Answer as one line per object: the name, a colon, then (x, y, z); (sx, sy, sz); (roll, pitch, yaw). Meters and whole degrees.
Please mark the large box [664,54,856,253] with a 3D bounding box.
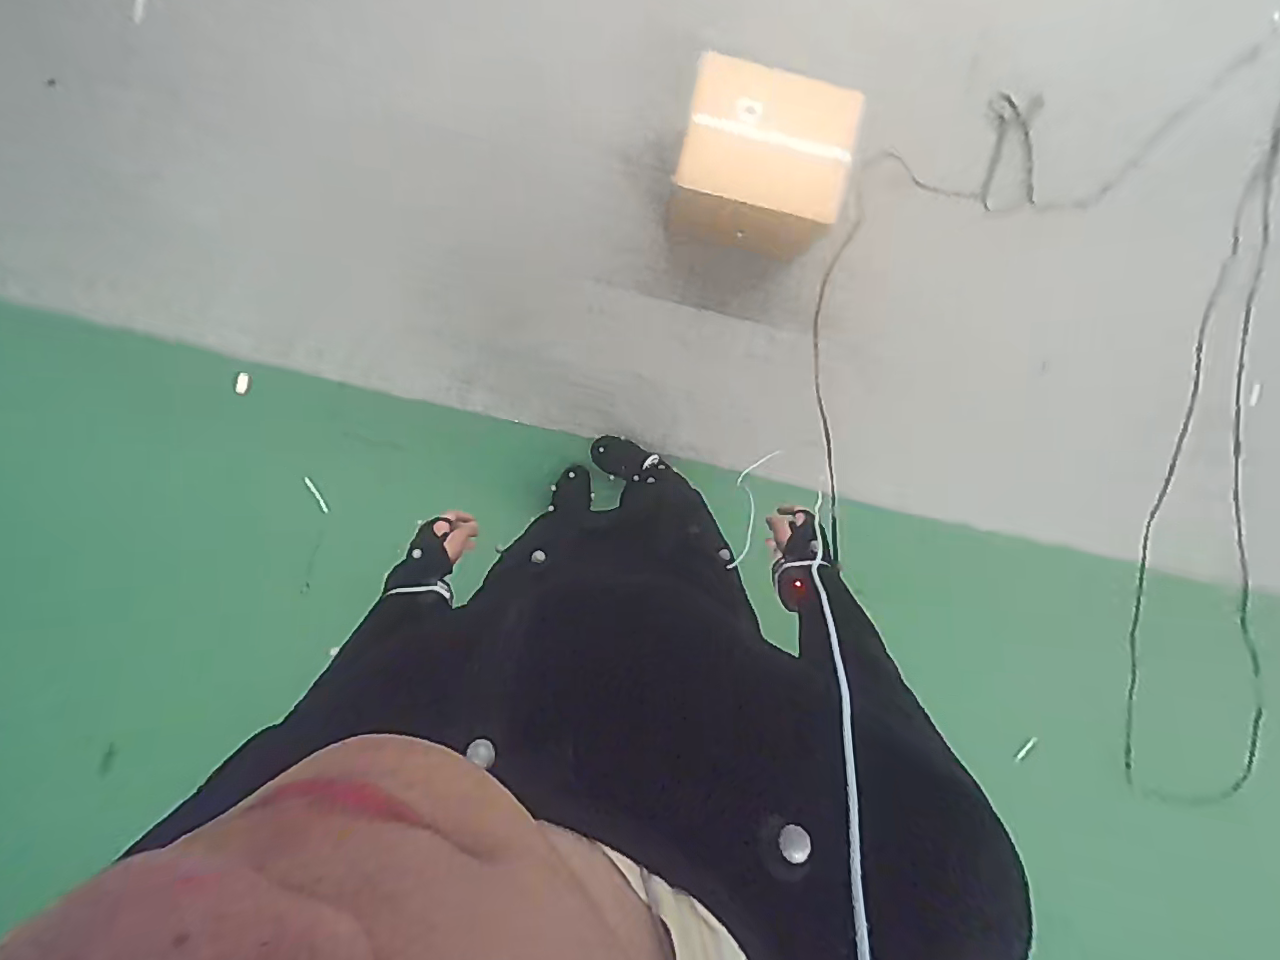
large box: (0.296, -0.838, 1.442); (0.408, 0.320, 0.320); (11, 94, -3)
